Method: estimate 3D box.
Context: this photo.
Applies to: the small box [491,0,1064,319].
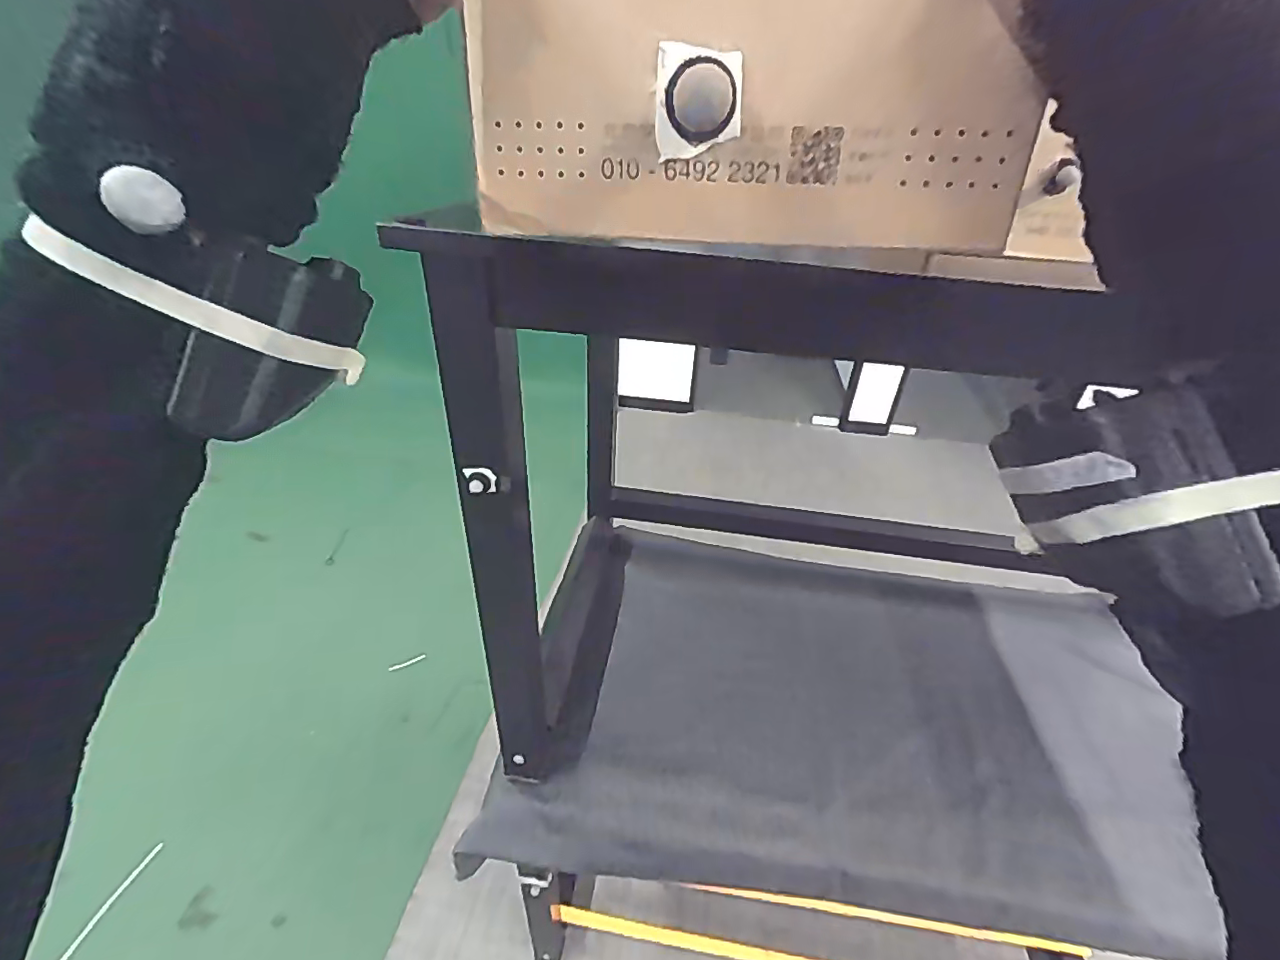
[{"bbox_3d":[0.041,-0.169,0.223,0.168,0.176,0.179,3,26,5],"label":"small box"}]
